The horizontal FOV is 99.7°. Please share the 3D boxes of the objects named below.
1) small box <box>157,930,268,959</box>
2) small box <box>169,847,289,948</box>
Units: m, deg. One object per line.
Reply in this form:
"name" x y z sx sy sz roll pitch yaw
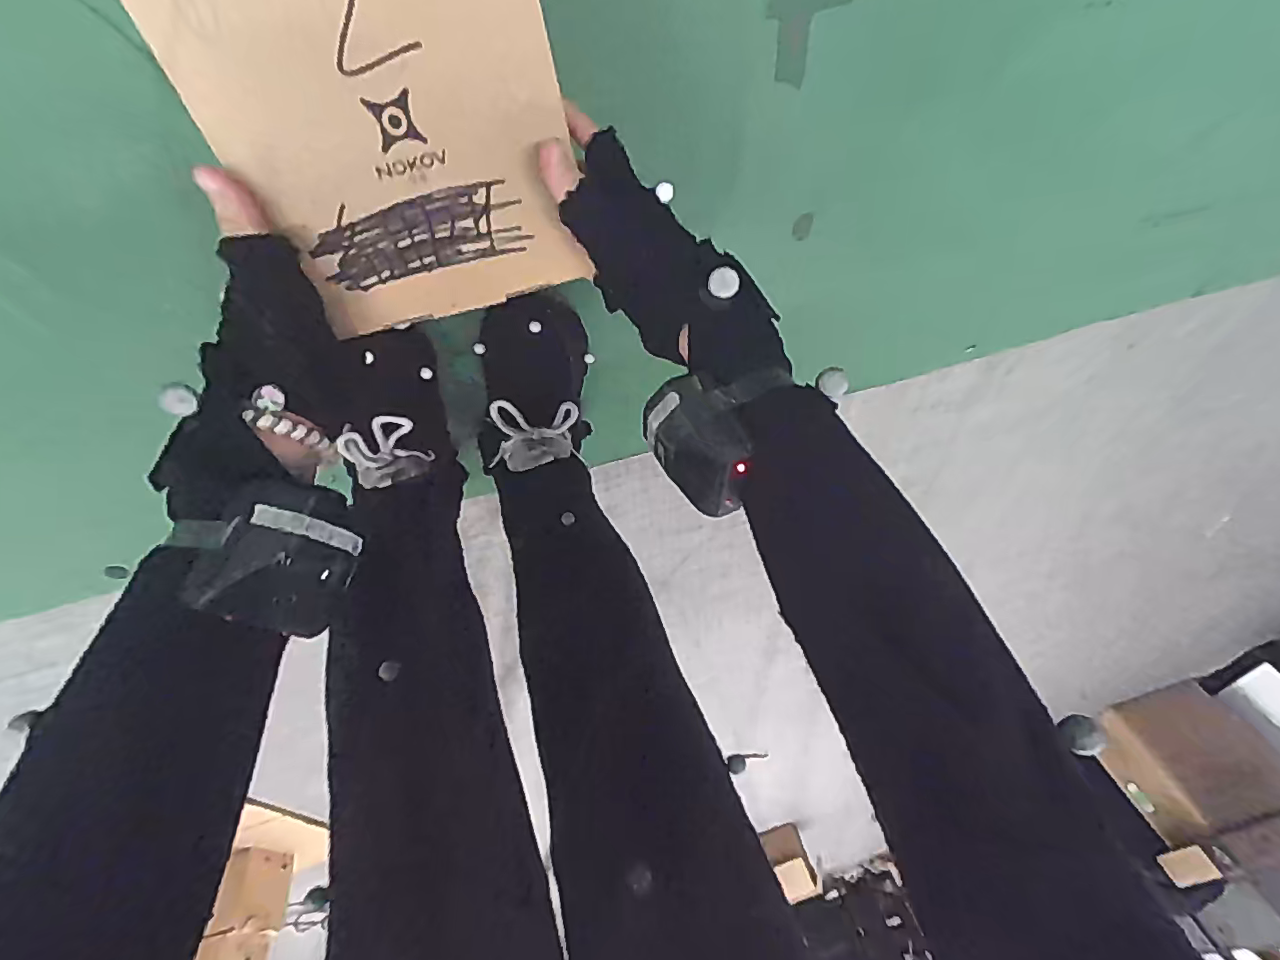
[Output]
"small box" -1.012 1.176 1.252 0.179 0.176 0.168 -17 137 -3
"small box" -1.024 1.058 1.367 0.179 0.176 0.168 -19 137 -1
